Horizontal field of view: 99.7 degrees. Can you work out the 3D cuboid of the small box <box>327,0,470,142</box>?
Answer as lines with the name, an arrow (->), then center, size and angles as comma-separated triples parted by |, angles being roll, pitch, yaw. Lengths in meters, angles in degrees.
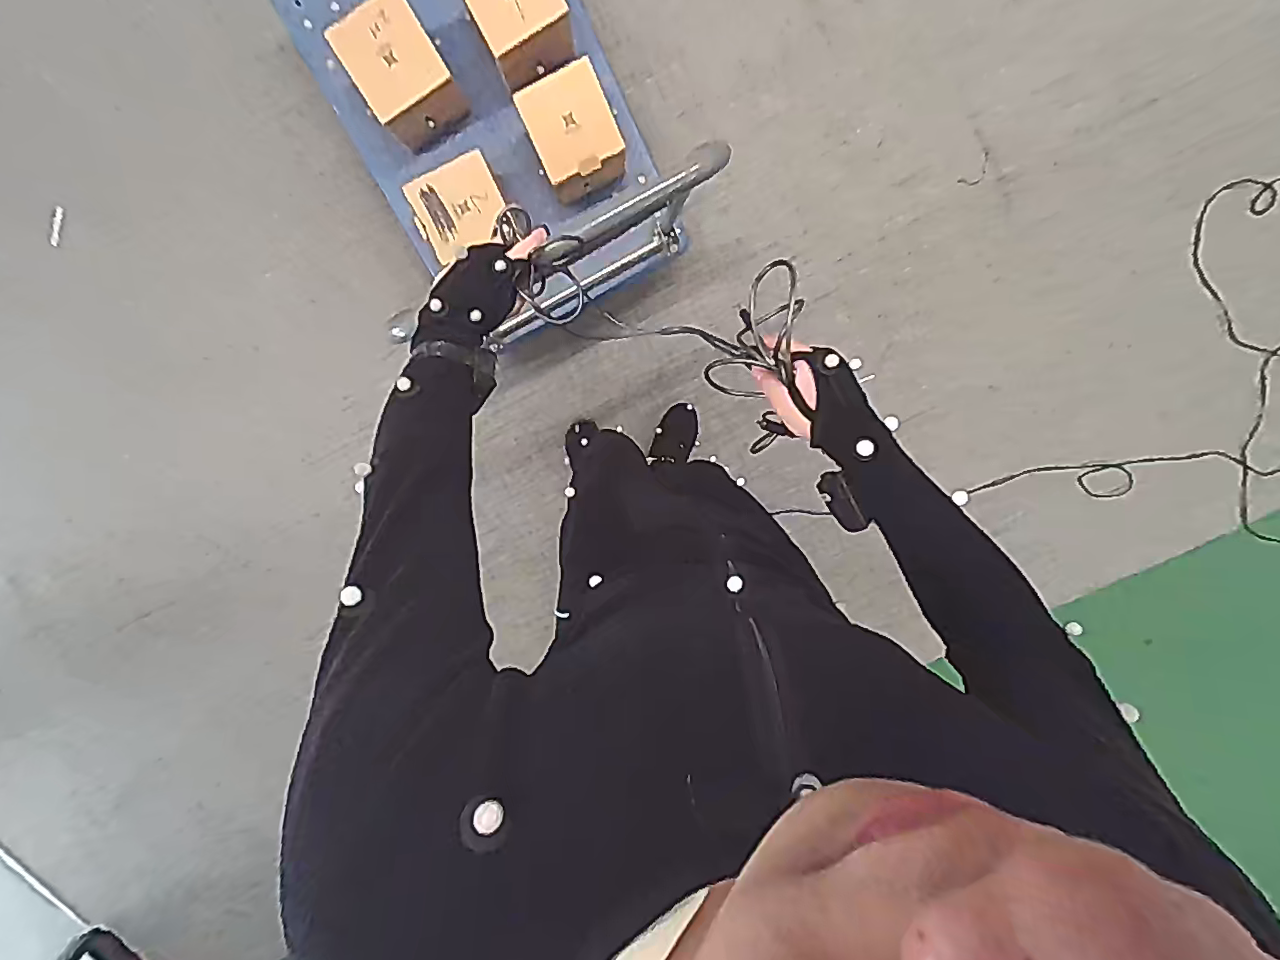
small box -> -0.471, -0.820, 1.091 | 0.168, 0.176, 0.179 | -31, 104, 5

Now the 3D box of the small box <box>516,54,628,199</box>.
small box -> -0.136, -0.725, 1.131 | 0.168, 0.176, 0.179 | -25, 105, 5

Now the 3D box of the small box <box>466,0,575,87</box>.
small box -> -0.244, -0.935, 1.068 | 0.168, 0.176, 0.179 | -28, 105, 6
